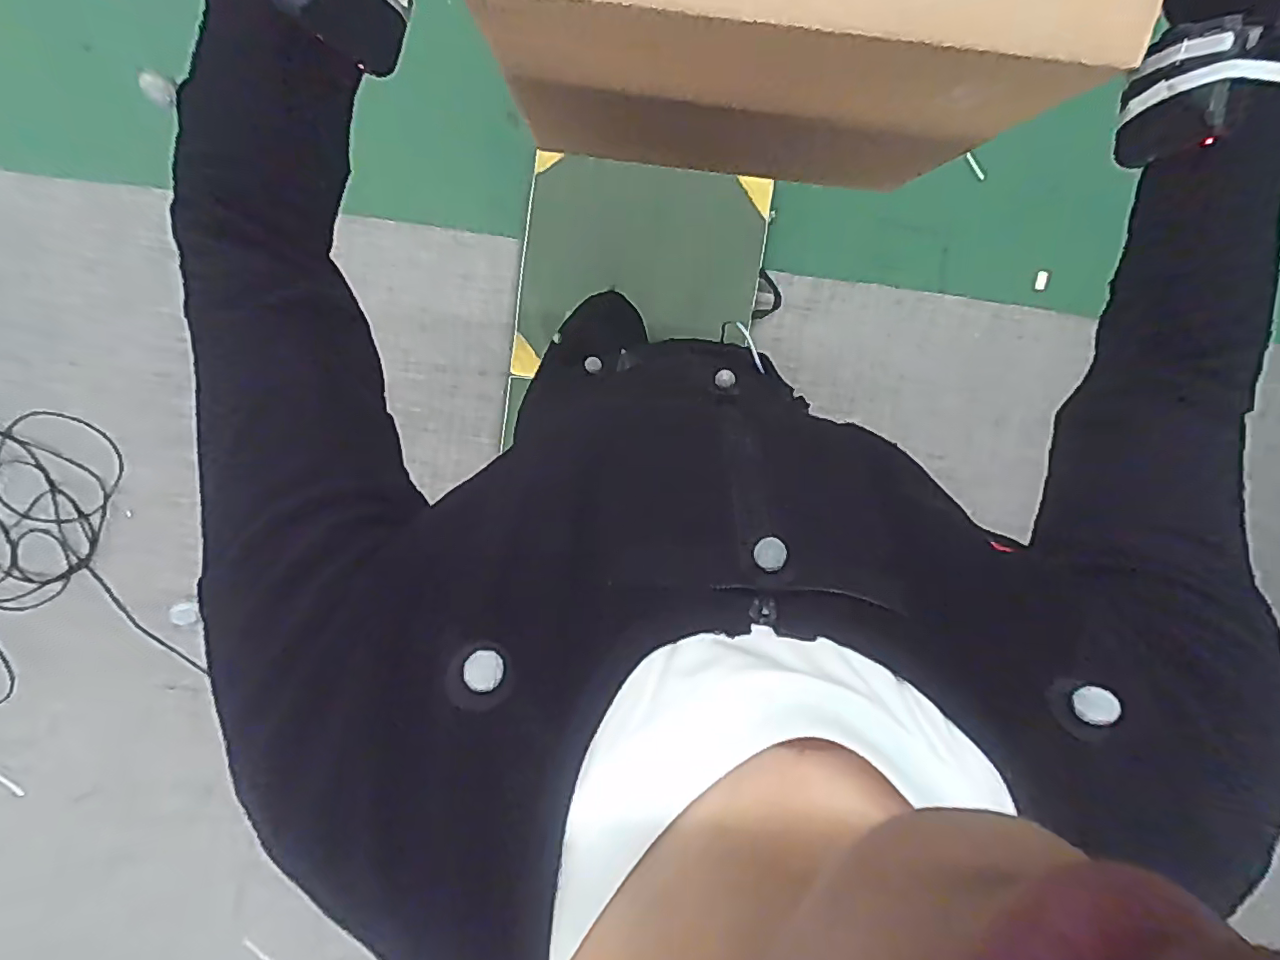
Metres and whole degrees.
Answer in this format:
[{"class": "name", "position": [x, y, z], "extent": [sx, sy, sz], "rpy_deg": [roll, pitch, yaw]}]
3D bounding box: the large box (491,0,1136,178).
[{"class": "large box", "position": [0.105, -0.461, 0.425], "extent": [0.408, 0.320, 0.320], "rpy_deg": [4, 106, -4]}]
